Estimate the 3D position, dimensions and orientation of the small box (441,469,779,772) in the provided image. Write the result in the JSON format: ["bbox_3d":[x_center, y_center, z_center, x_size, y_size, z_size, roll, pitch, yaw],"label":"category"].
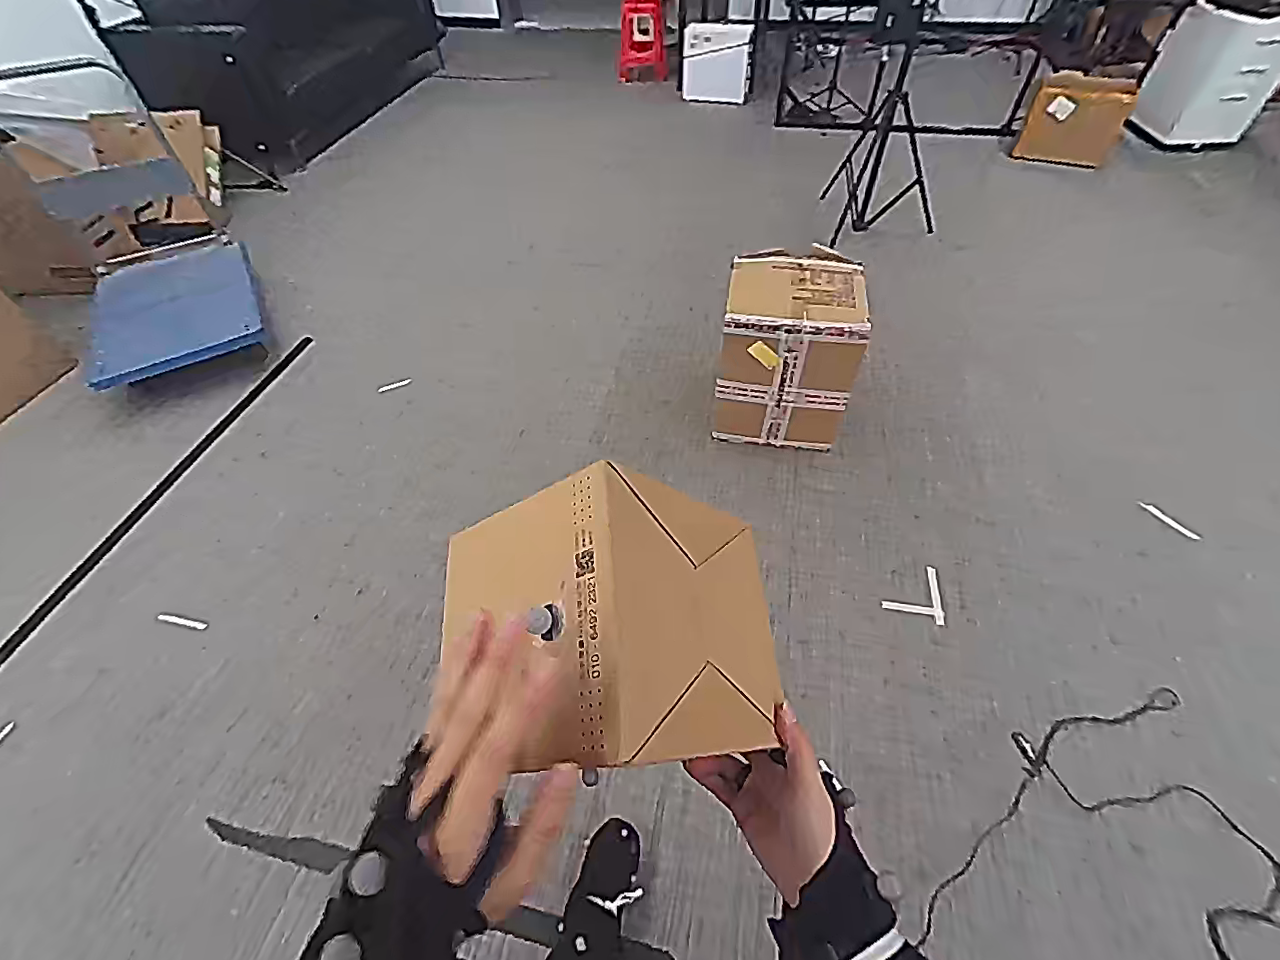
[{"bbox_3d":[-0.018,0.113,0.398,0.176,0.179,0.168,-25,57,33],"label":"small box"}]
